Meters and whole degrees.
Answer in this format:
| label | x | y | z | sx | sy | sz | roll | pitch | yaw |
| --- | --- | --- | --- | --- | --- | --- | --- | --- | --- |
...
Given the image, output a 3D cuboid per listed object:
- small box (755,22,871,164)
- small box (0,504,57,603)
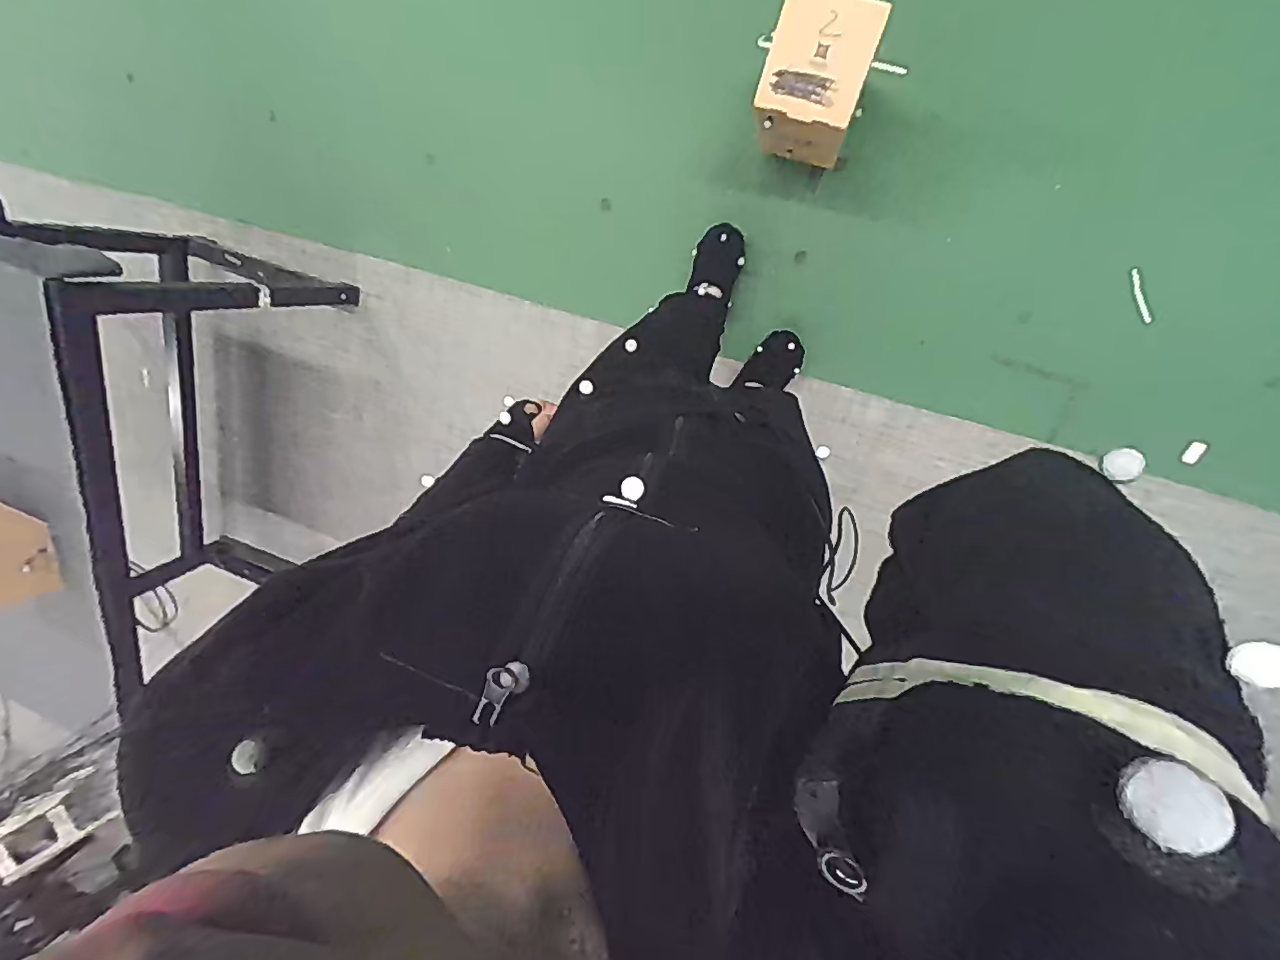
| label | x | y | z | sx | sy | sz | roll | pitch | yaw |
| --- | --- | --- | --- | --- | --- | --- | --- | --- | --- |
| small box | 0.343 | -0.776 | 1.103 | 0.168 | 0.176 | 0.179 | 21 | 114 | 7 |
| small box | -1.381 | 0.160 | 1.118 | 0.179 | 0.176 | 0.168 | 19 | 114 | 9 |
